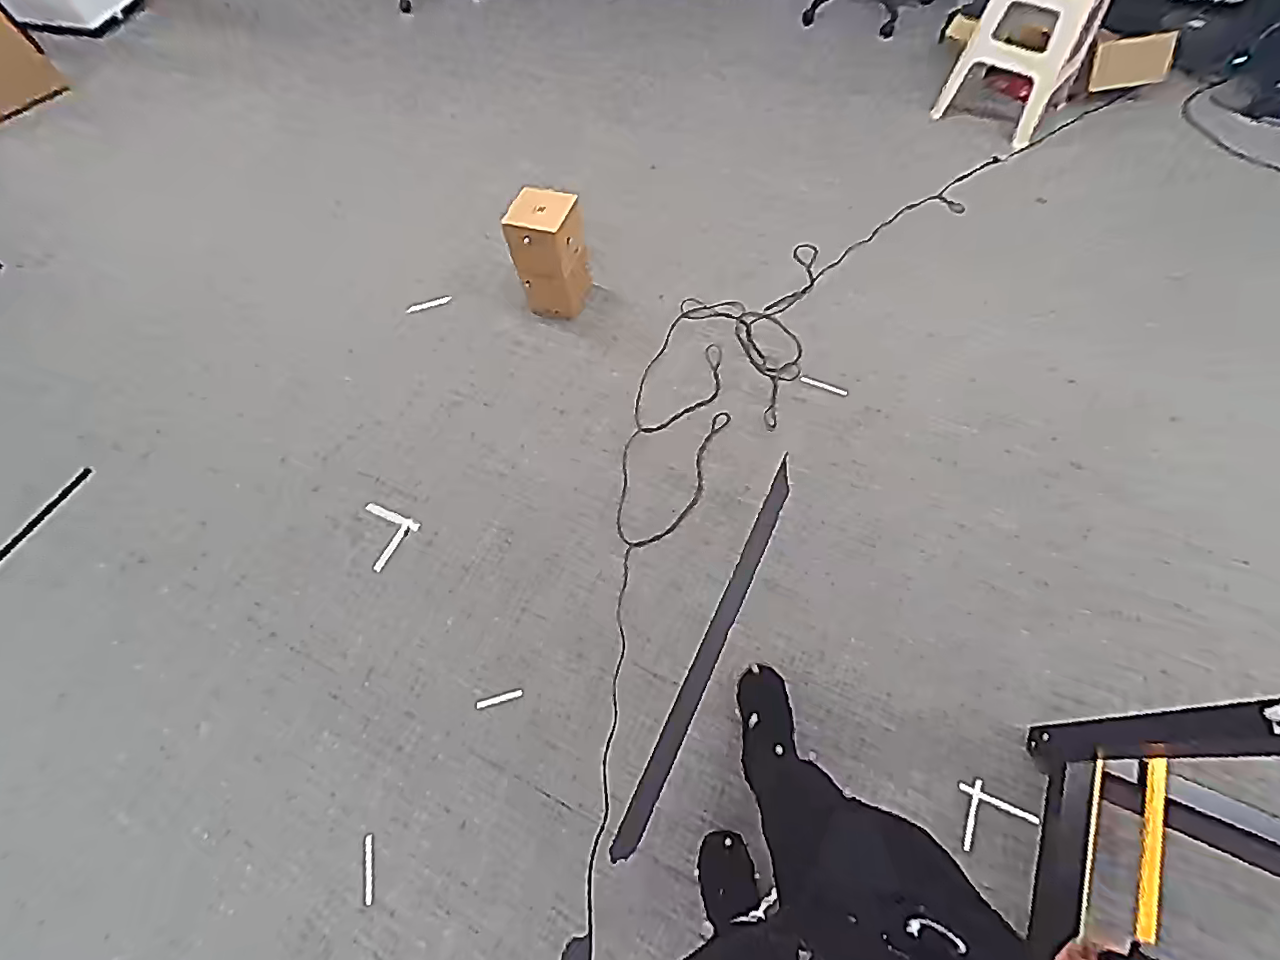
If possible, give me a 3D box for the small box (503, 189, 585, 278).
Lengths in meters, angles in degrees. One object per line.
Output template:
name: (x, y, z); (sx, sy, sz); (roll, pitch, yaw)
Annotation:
small box: (-0.276, -0.728, 1.607); (0.179, 0.176, 0.168); (15, 64, 12)
